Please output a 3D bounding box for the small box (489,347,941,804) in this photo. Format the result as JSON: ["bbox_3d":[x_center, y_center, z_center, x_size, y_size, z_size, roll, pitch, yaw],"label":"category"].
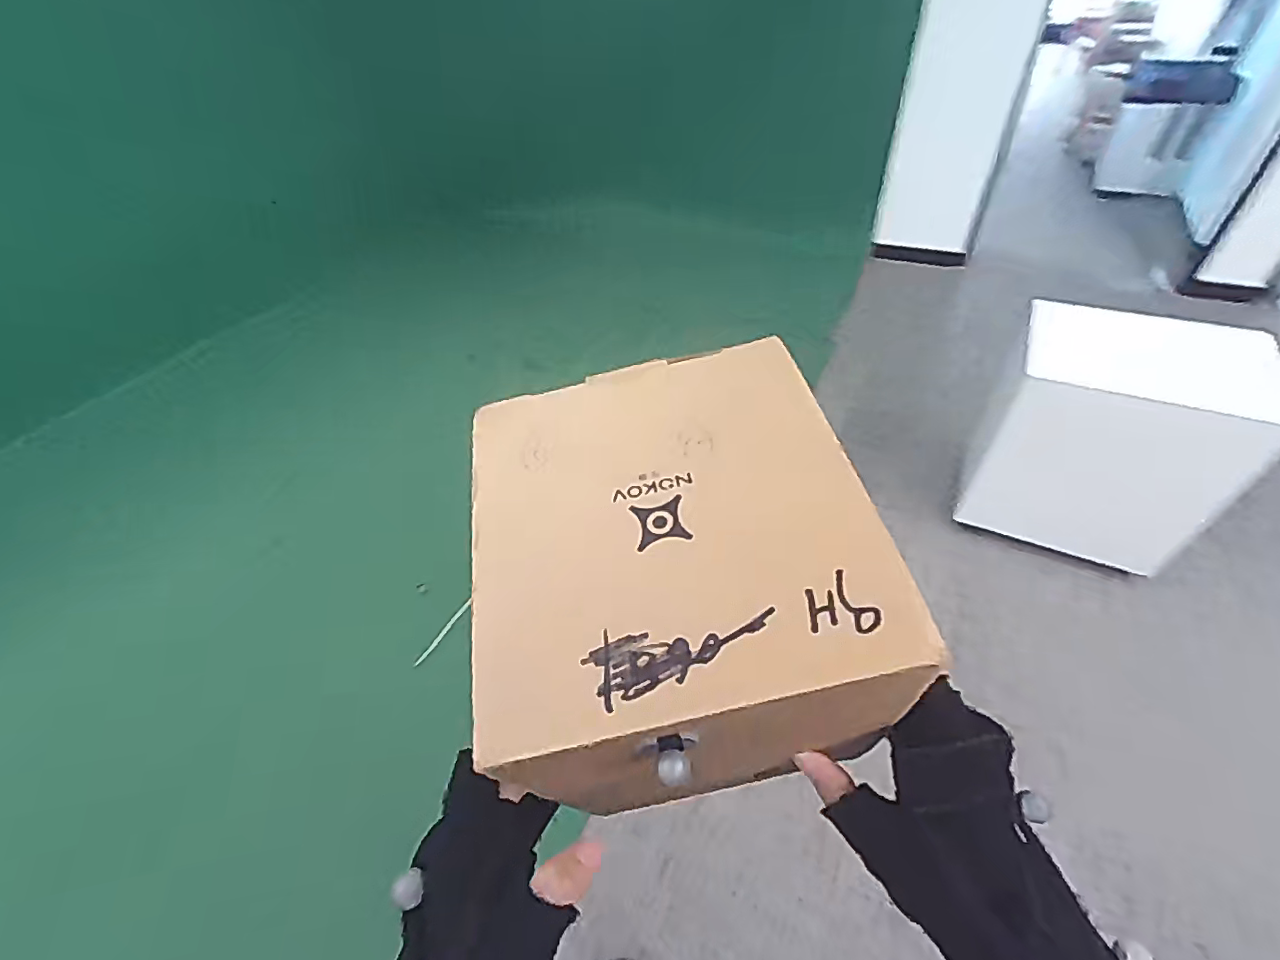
[{"bbox_3d":[0.027,0.060,0.304,0.168,0.176,0.179,-14,52,3],"label":"small box"}]
